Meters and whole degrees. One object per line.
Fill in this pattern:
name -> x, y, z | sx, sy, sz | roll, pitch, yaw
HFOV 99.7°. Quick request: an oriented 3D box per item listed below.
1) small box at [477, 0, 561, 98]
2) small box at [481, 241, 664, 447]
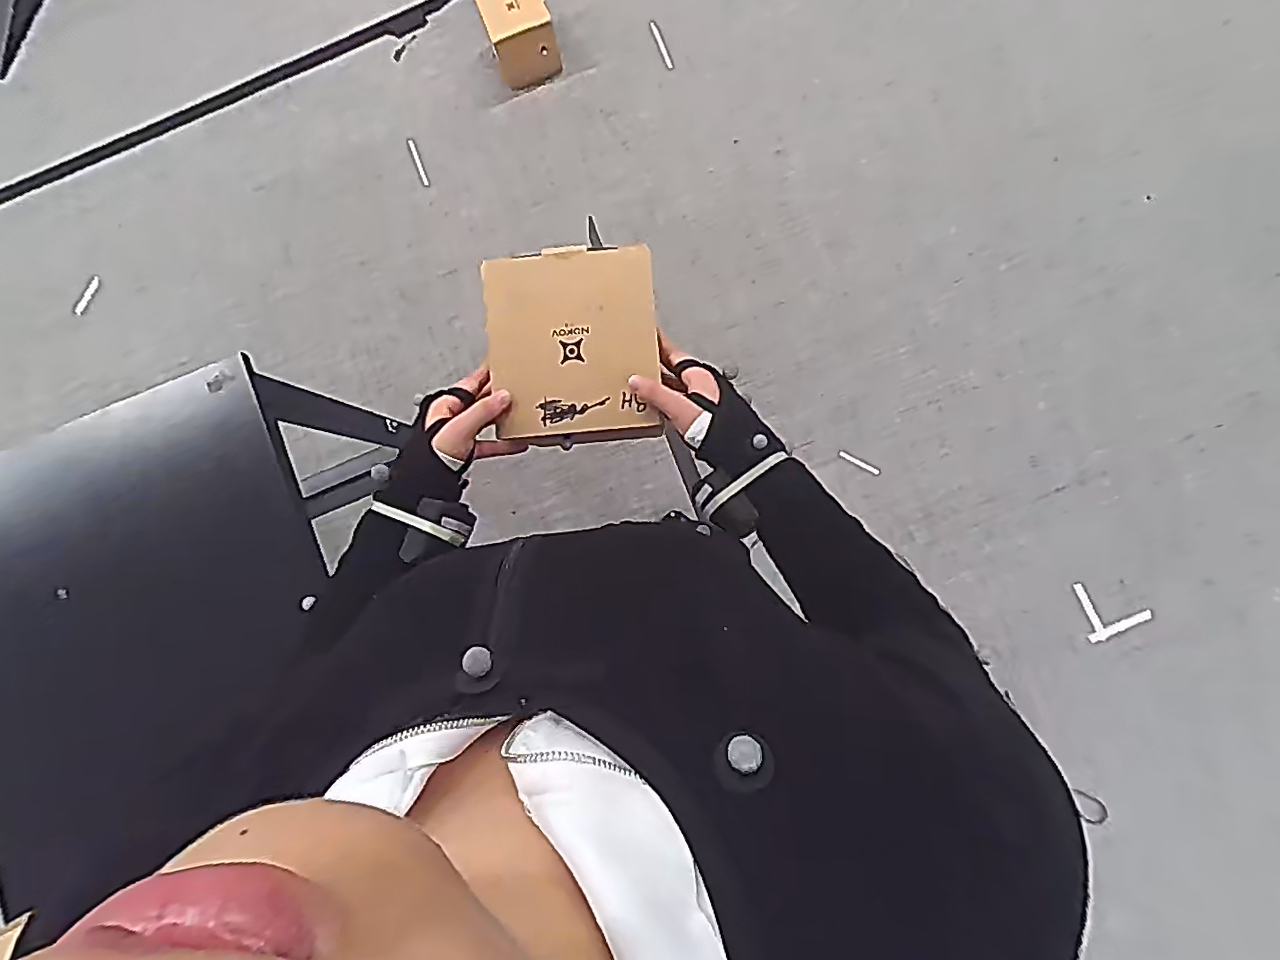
small box -> -0.336, -1.256, 1.551 | 0.179, 0.176, 0.168 | -22, 84, 2
small box -> -0.063, -0.134, 0.595 | 0.168, 0.176, 0.179 | -5, 90, 3
